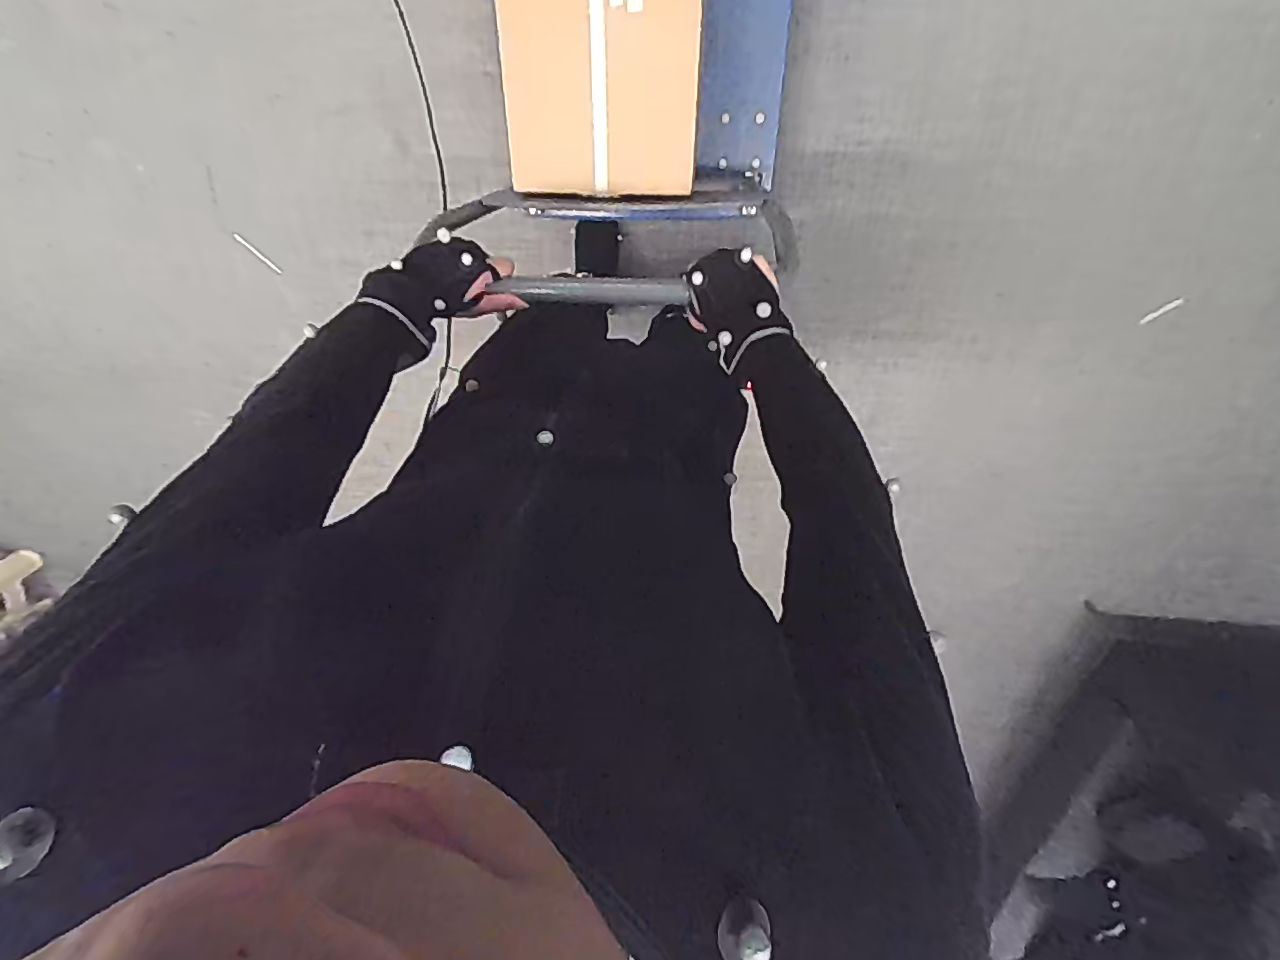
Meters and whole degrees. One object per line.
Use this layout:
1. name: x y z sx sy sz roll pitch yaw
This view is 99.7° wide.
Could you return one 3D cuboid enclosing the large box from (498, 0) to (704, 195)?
1. large box: -0.047 -0.739 0.964 0.320 0.320 0.408 3 120 4
